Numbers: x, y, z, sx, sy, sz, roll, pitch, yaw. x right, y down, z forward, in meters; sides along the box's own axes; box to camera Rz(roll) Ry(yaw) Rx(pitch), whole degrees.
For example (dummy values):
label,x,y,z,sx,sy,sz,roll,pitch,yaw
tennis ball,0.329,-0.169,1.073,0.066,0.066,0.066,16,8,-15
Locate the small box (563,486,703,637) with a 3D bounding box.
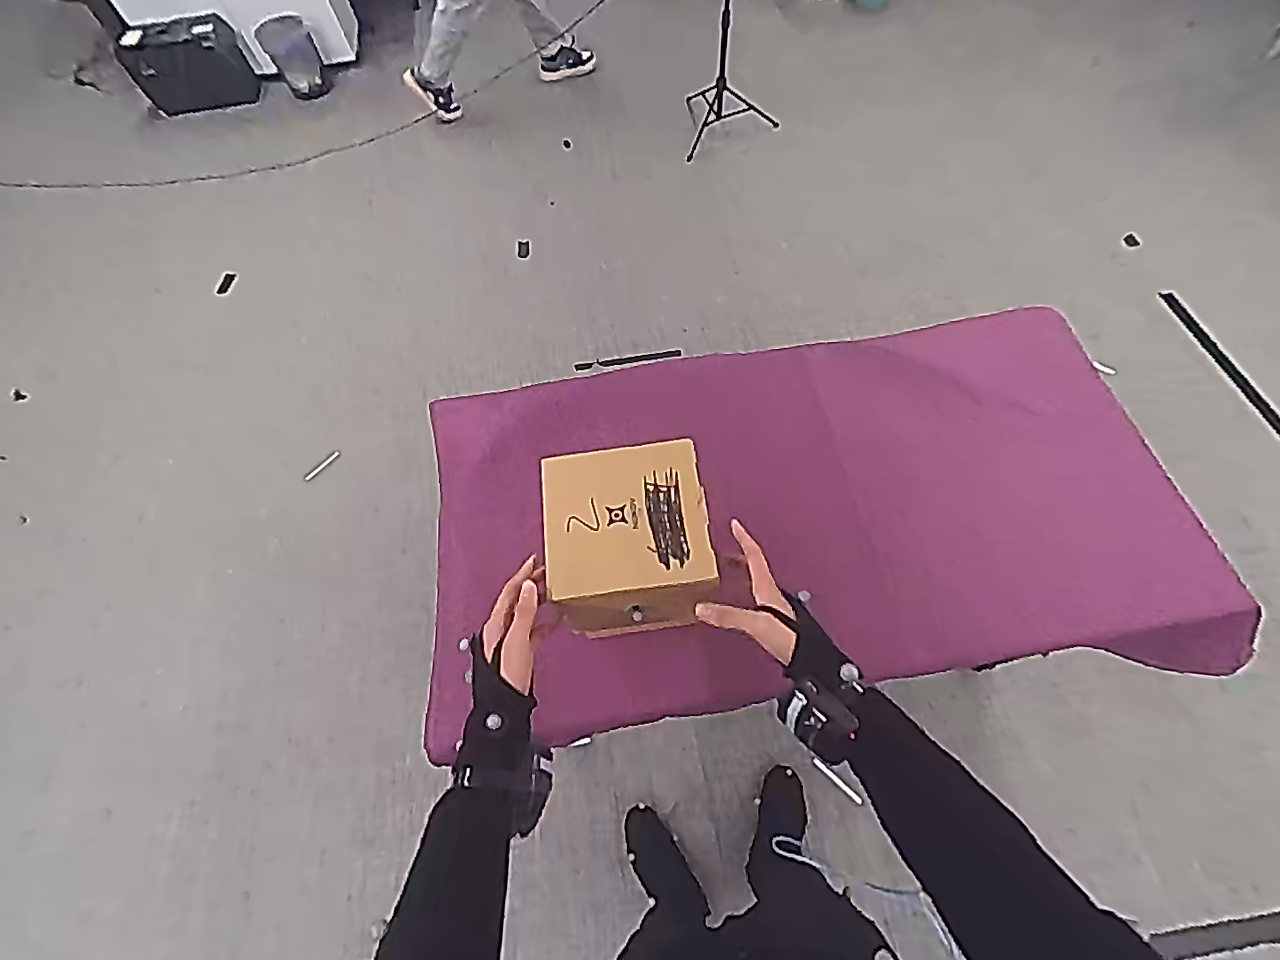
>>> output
label,x,y,z,sx,sy,sz,roll,pitch,yaw
small box,-0.011,0.126,0.798,0.179,0.176,0.168,-8,62,0
